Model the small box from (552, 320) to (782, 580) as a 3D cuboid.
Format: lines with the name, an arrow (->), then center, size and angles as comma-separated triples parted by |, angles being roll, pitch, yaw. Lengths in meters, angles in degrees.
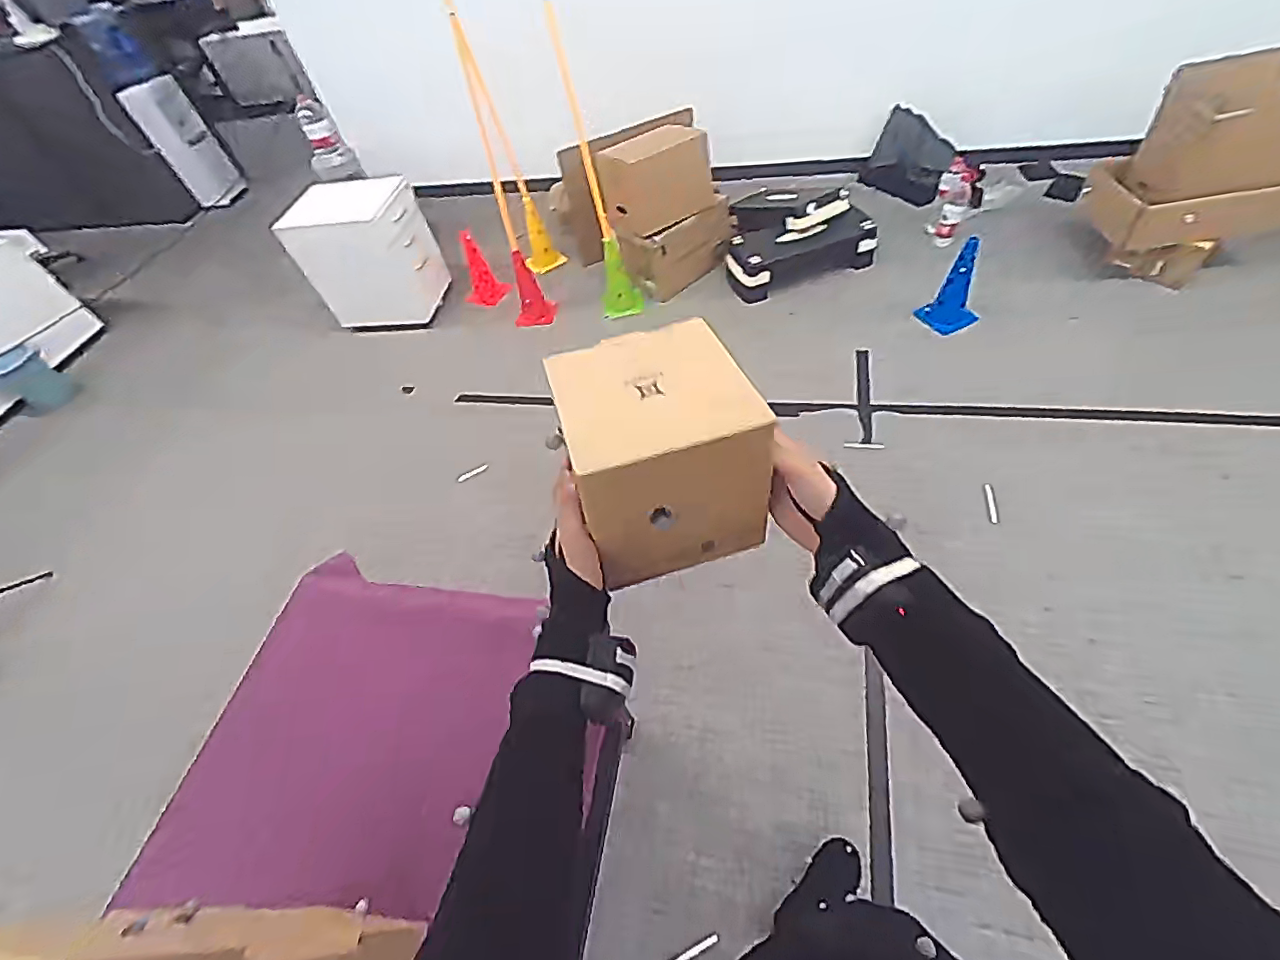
small box -> 0.024, -0.023, 0.527 | 0.168, 0.176, 0.179 | -16, 46, -6

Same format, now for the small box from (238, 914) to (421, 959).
small box -> -0.384, 0.624, 0.623 | 0.168, 0.176, 0.179 | 0, 53, 11

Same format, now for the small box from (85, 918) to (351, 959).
small box -> -0.413, 0.526, 0.494 | 0.179, 0.176, 0.168 | 5, 55, 14
